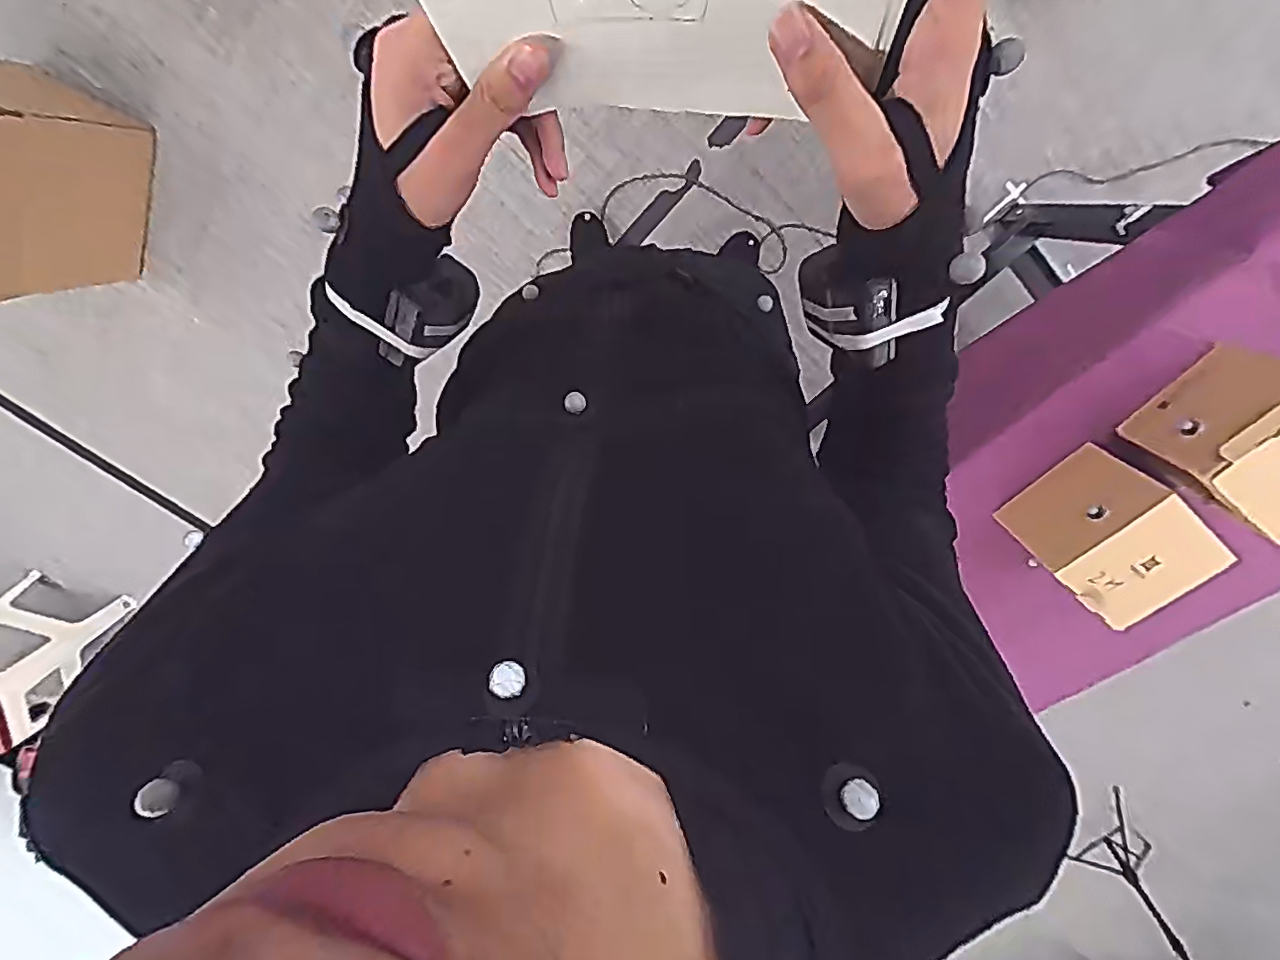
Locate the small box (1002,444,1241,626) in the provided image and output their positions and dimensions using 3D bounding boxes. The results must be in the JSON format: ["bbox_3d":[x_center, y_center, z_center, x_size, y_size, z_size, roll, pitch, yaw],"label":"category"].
[{"bbox_3d":[0.705,0.076,0.816,0.168,0.176,0.179,36,115,-14],"label":"small box"}]

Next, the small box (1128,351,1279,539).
[{"bbox_3d":[0.841,-0.056,0.739,0.179,0.176,0.168,33,116,-14],"label":"small box"}]
